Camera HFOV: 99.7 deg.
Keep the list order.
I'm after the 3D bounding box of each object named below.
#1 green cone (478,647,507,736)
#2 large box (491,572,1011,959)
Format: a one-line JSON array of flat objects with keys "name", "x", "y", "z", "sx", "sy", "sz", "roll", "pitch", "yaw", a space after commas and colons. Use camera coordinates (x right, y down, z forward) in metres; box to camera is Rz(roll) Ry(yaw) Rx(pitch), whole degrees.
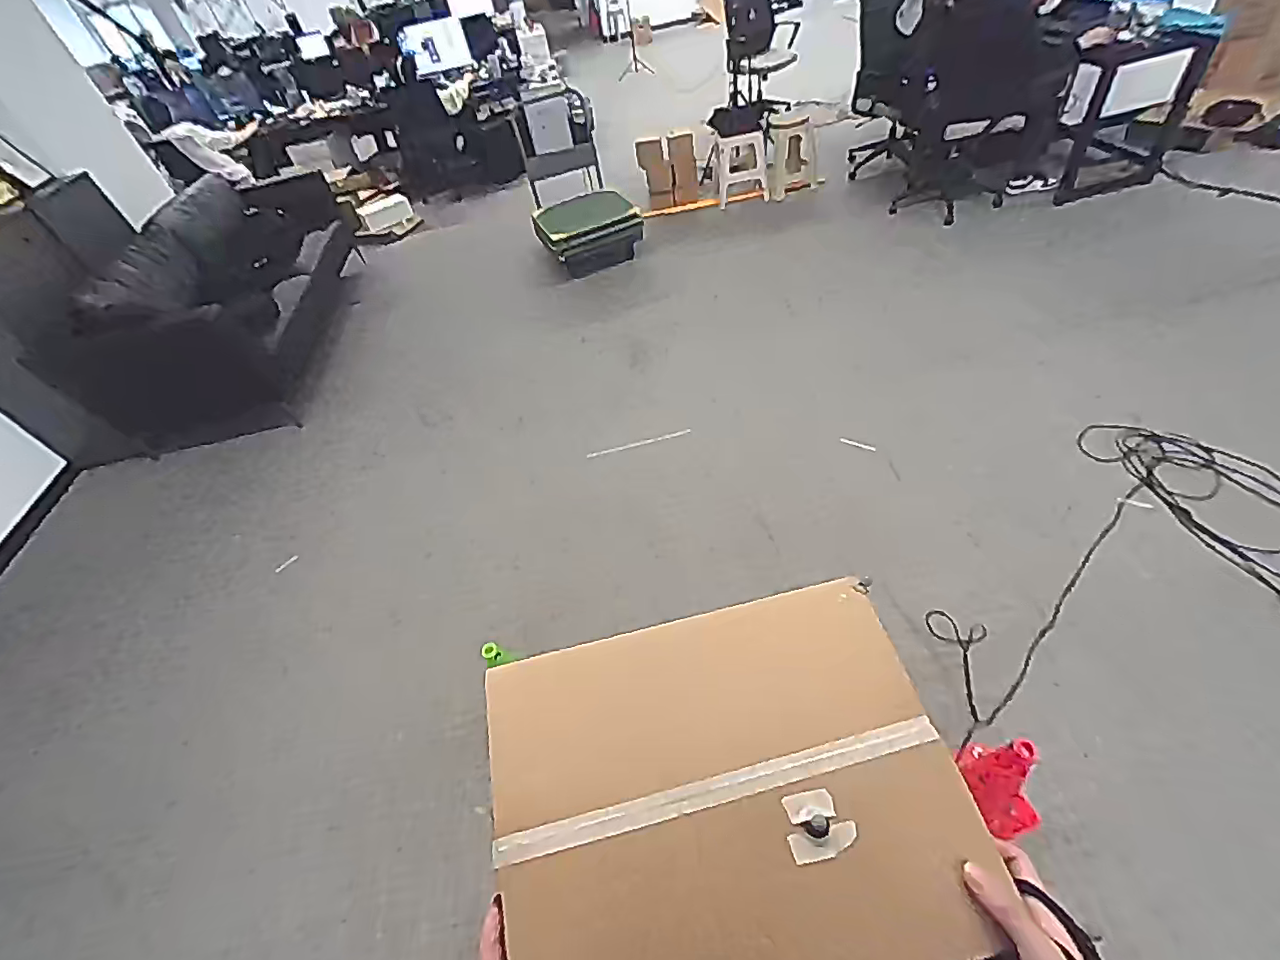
[{"name": "green cone", "x": -0.382, "y": 0.572, "z": 1.555, "sx": 0.200, "sy": 0.368, "sz": 0.202, "roll": -9, "pitch": 47, "yaw": 5}, {"name": "large box", "x": 0.079, "y": 0.351, "z": 0.618, "sx": 0.408, "sy": 0.320, "sz": 0.320, "roll": -13, "pitch": 57, "yaw": -6}]
